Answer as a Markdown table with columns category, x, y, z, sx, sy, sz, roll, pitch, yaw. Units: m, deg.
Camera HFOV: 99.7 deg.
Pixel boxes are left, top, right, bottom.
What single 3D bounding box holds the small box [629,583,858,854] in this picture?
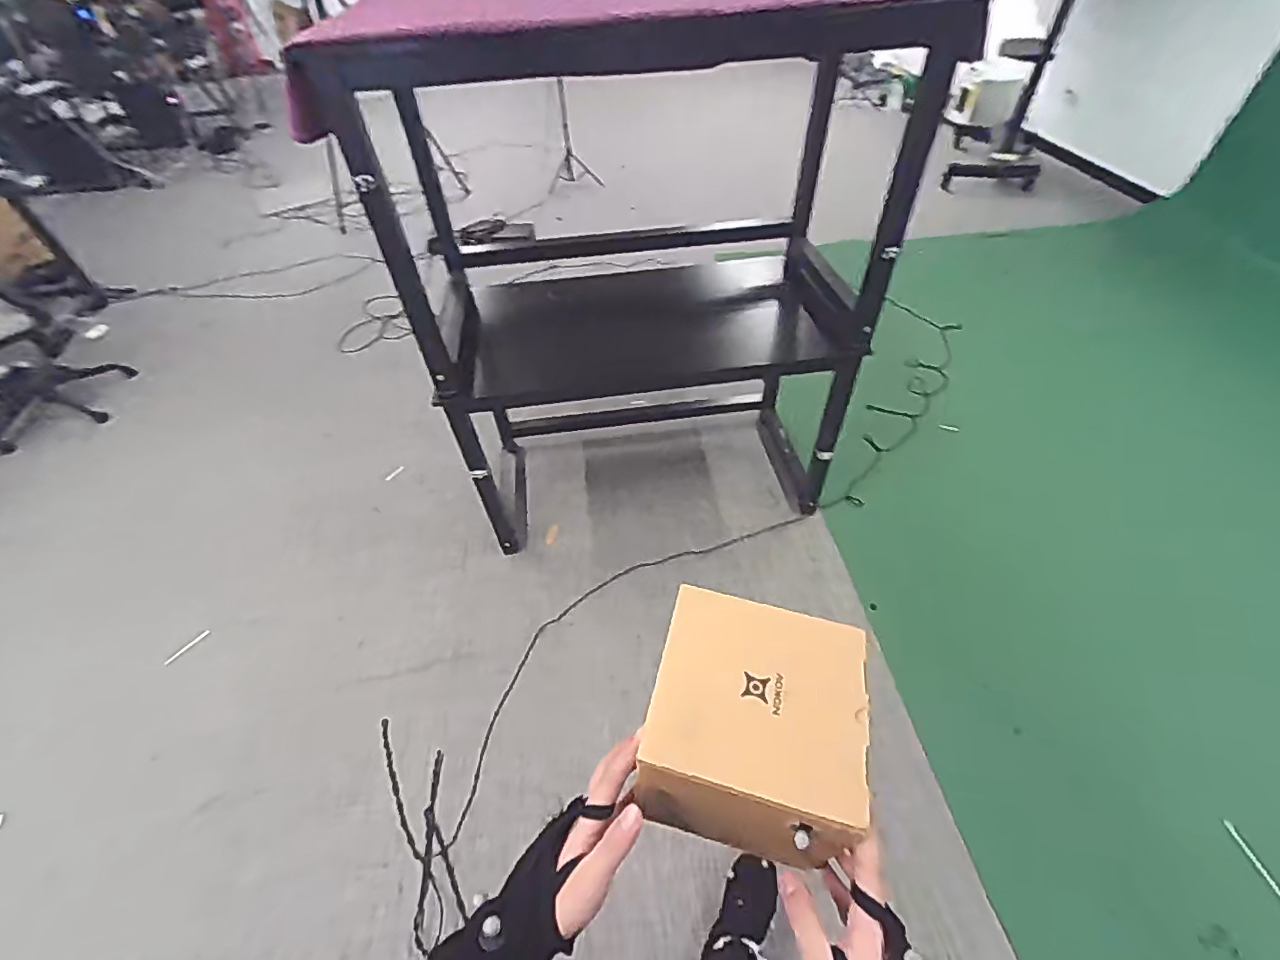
| category | x | y | z | sx | sy | sz | roll | pitch | yaw |
| --- | --- | --- | --- | --- | --- | --- | --- | --- | --- |
| small box | 0.093 | 0.228 | 0.514 | 0.179 | 0.176 | 0.168 | 12 | 47 | 9 |
